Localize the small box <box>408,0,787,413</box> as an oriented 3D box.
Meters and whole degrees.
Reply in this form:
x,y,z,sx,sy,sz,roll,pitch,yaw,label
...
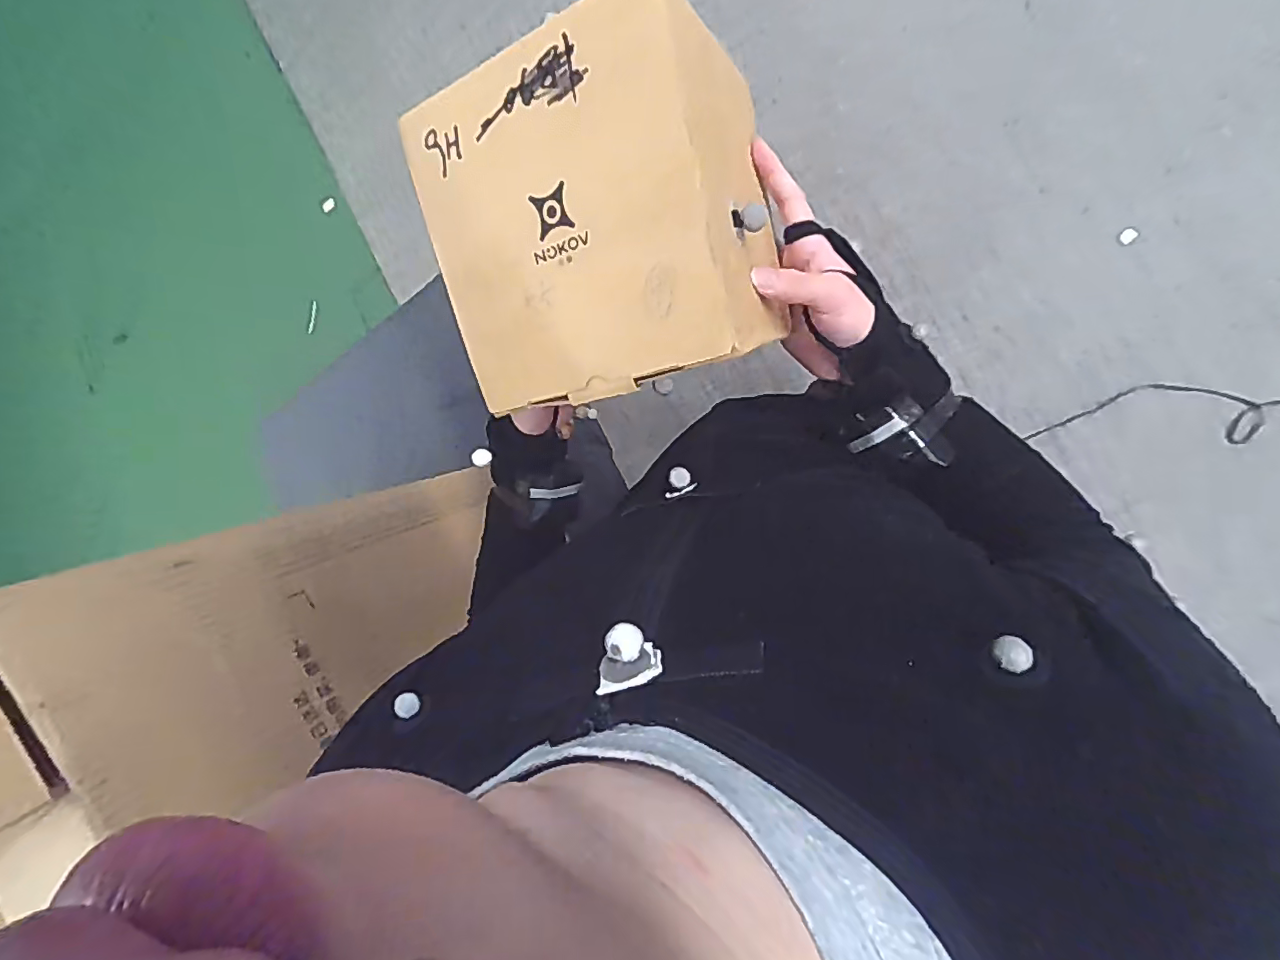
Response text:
x,y,z,sx,sy,sz,roll,pitch,yaw,label
-0.008,-0.158,0.360,0.168,0.176,0.179,-8,104,27,small box

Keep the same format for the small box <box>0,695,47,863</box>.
x,y,z,sx,sy,sz,roll,pitch,yaw,label
-0.452,0.170,0.260,0.179,0.176,0.168,-38,84,21,small box
